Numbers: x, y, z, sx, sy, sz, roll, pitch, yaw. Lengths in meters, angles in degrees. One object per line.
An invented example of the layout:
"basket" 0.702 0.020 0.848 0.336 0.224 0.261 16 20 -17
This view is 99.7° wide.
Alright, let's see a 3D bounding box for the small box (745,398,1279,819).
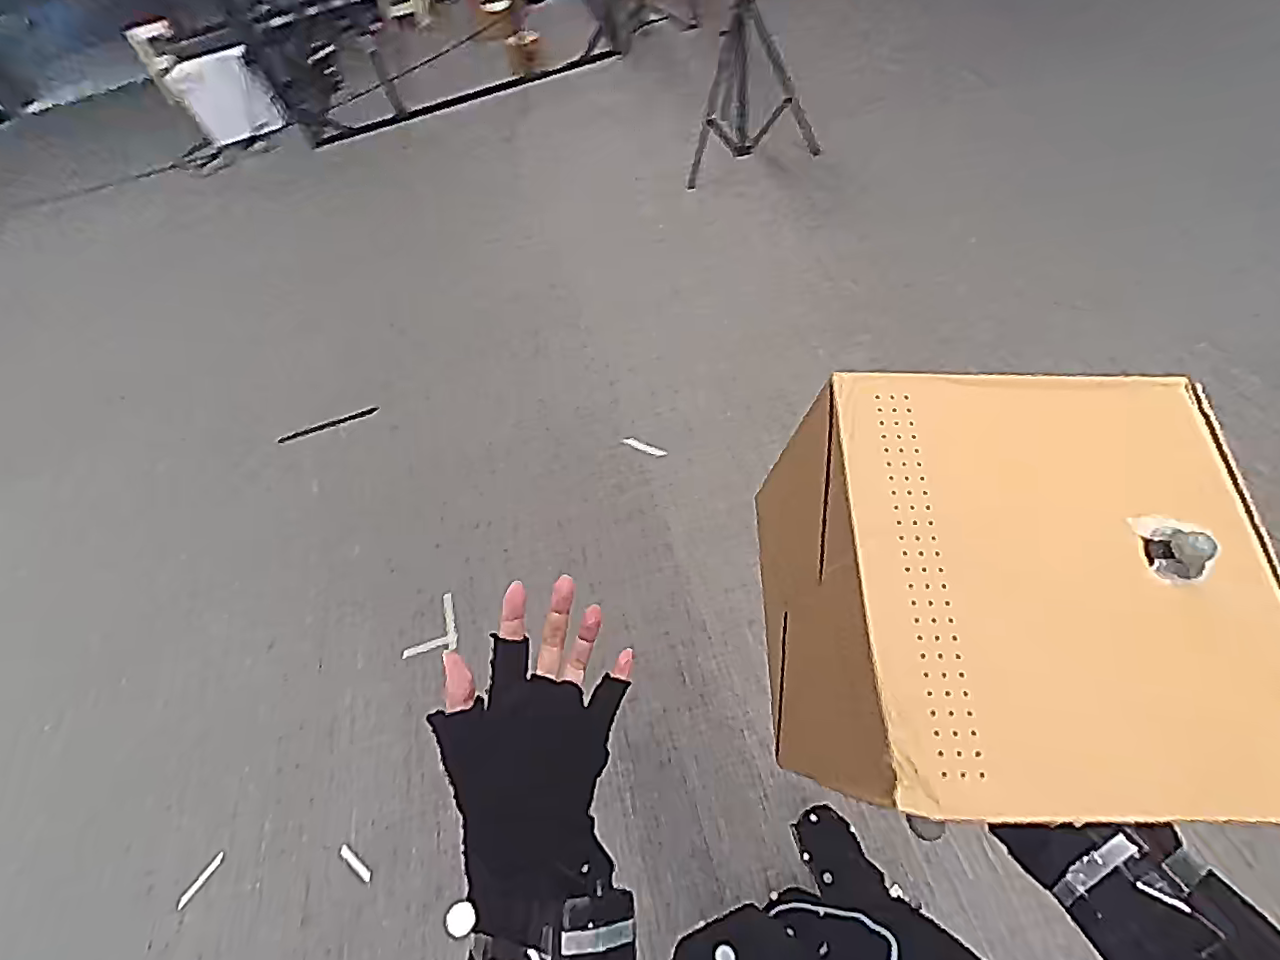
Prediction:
"small box" 0.157 0.071 0.297 0.176 0.168 0.179 -1 67 0
